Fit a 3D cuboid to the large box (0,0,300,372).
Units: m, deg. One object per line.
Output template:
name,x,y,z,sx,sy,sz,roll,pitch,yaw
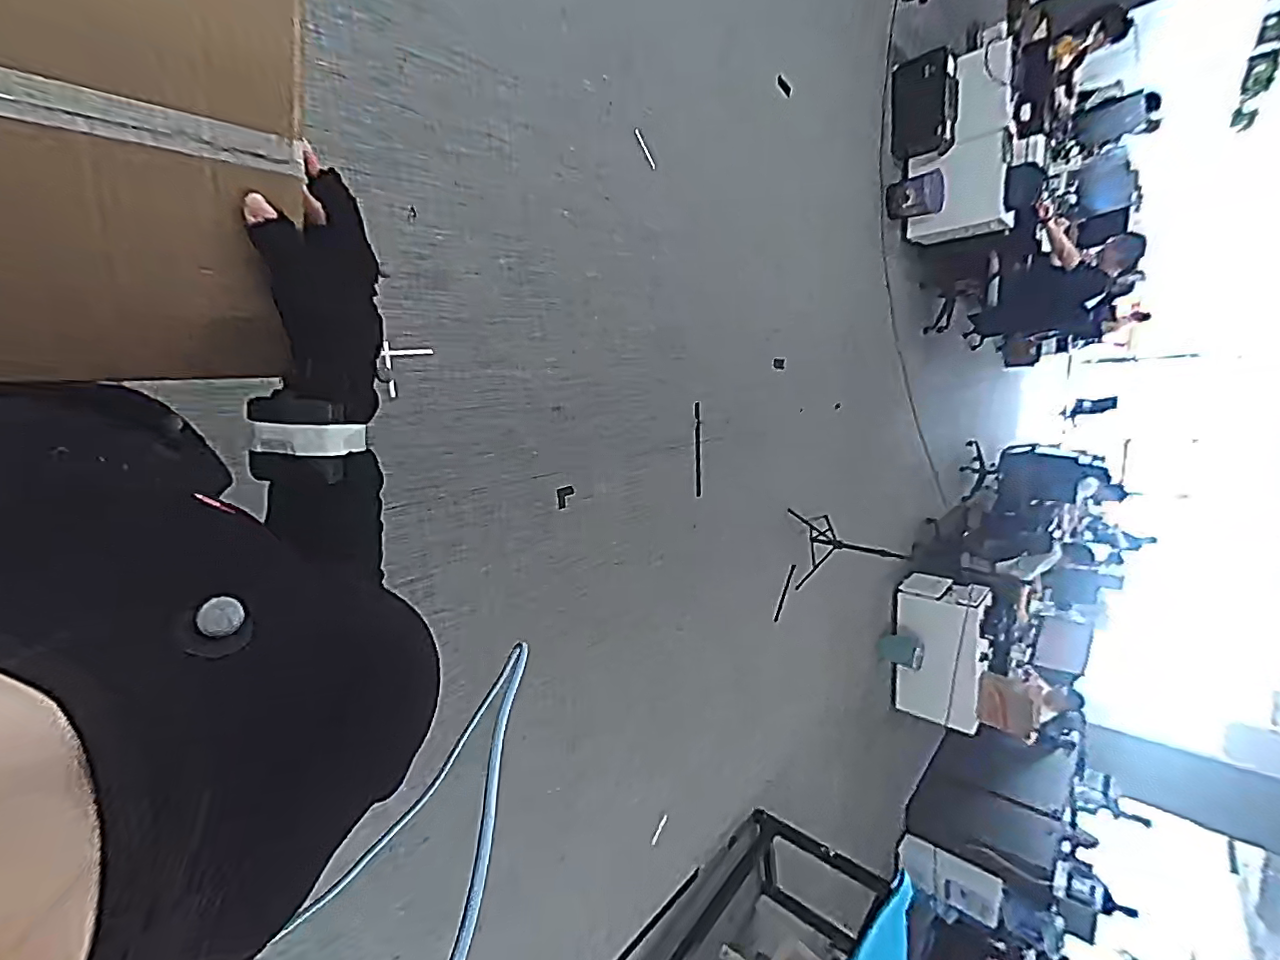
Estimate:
large box,-0.460,-0.265,0.292,0.408,0.320,0.320,-13,136,-44
